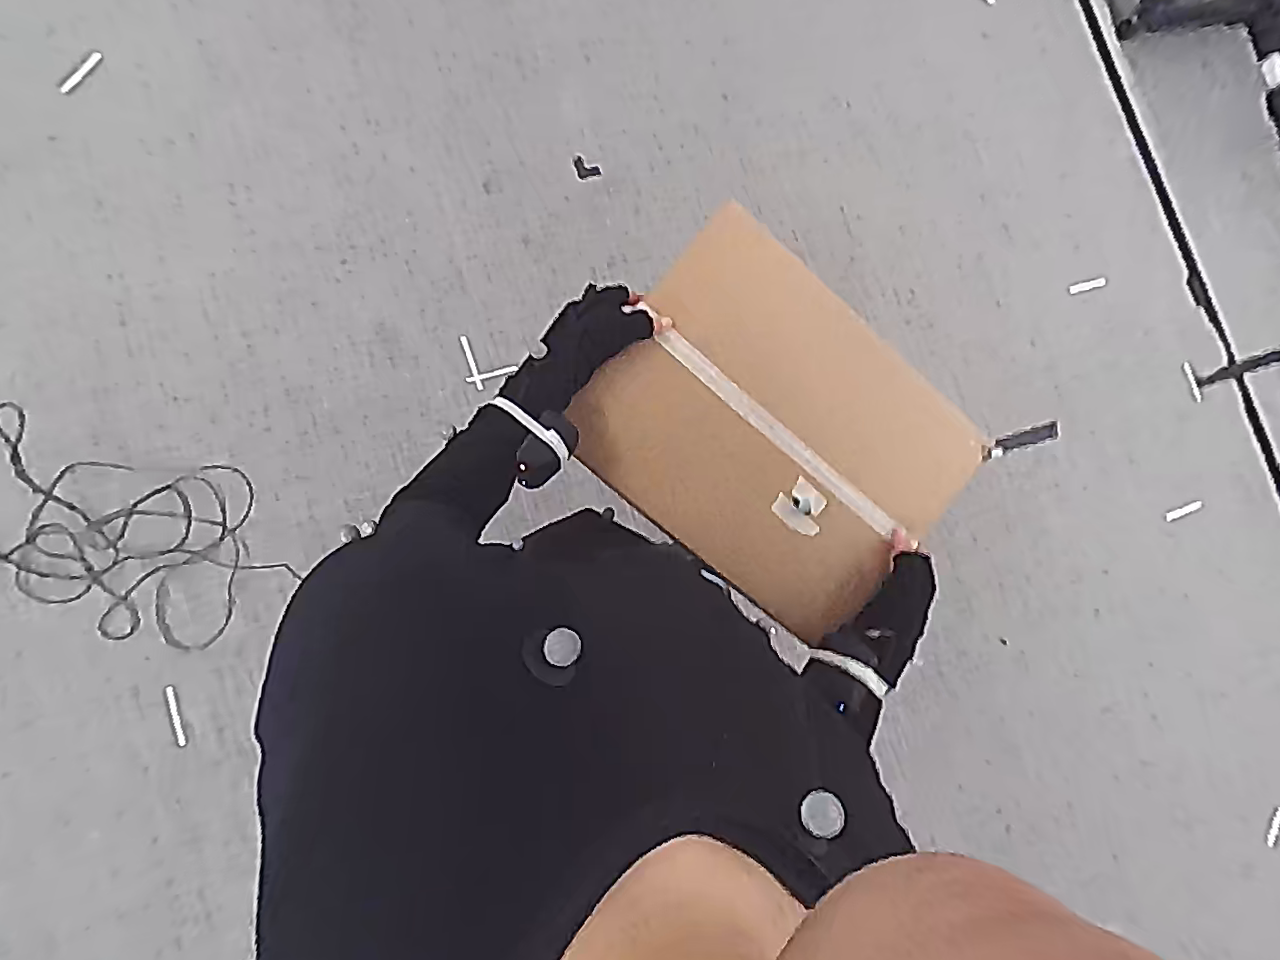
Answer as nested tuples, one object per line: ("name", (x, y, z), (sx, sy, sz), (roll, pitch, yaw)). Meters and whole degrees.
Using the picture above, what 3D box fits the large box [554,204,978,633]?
("large box", (0.131, -0.070, 0.746), (0.408, 0.320, 0.320), (40, 89, -9))
